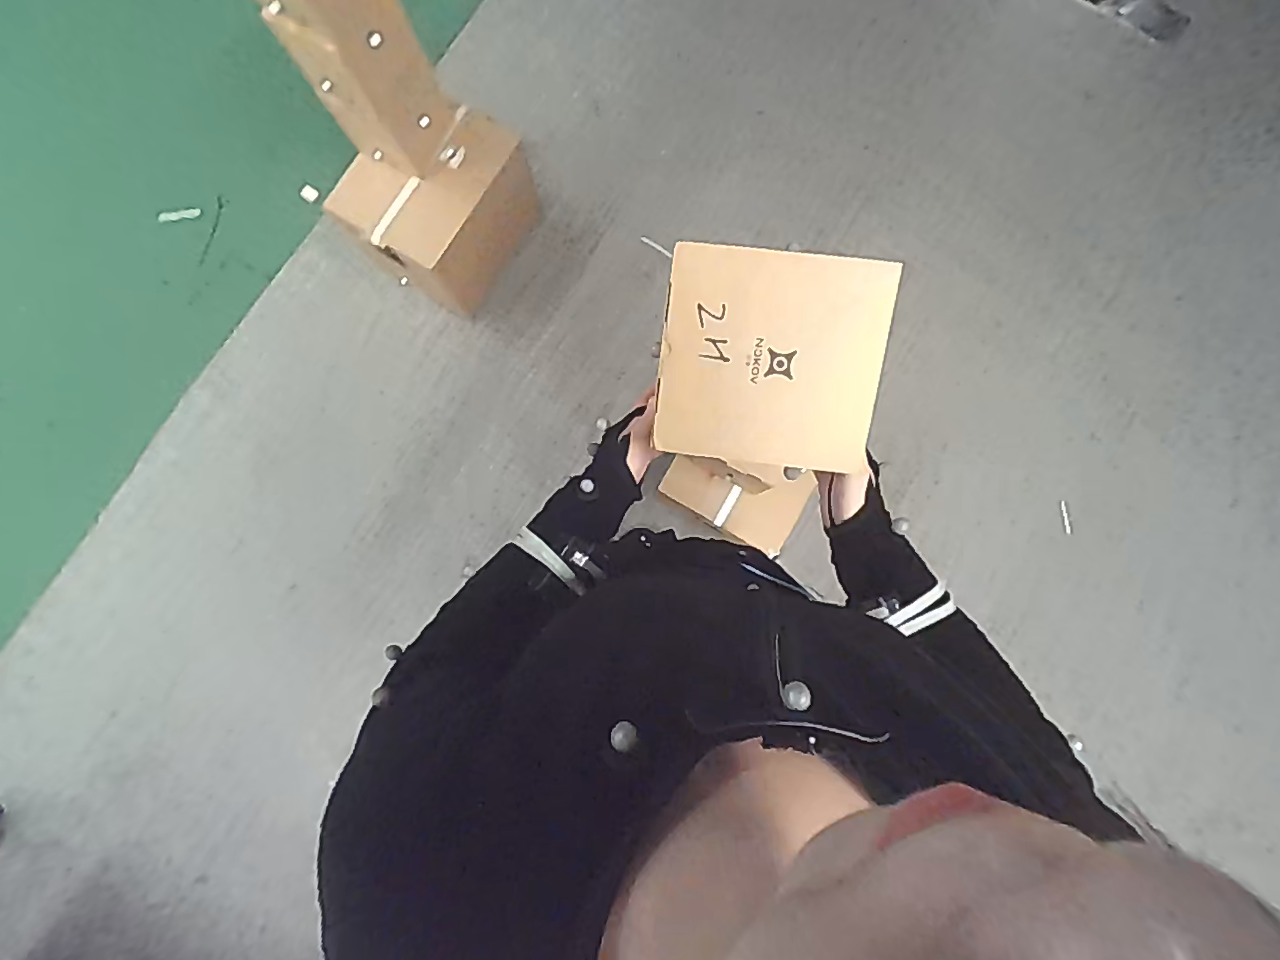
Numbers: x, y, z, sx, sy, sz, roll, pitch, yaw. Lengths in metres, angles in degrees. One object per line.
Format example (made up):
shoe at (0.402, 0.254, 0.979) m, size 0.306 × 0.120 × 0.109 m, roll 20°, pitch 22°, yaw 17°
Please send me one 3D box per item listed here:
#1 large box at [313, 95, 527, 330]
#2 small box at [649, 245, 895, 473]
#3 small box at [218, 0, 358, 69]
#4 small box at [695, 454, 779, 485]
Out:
large box at (-0.556, -0.685, 1.442) m, size 0.320 × 0.320 × 0.408 m, roll 28°, pitch 84°, yaw 3°
small box at (0.108, -0.112, 0.513) m, size 0.179 × 0.176 × 0.168 m, roll 7°, pitch 102°, yaw 3°
small box at (-0.602, -0.840, 0.884) m, size 0.168 × 0.176 × 0.179 m, roll 29°, pitch 86°, yaw 6°
small box at (0.223, -0.099, 1.148) m, size 0.168 × 0.176 × 0.179 m, roll 24°, pitch 85°, yaw 4°
